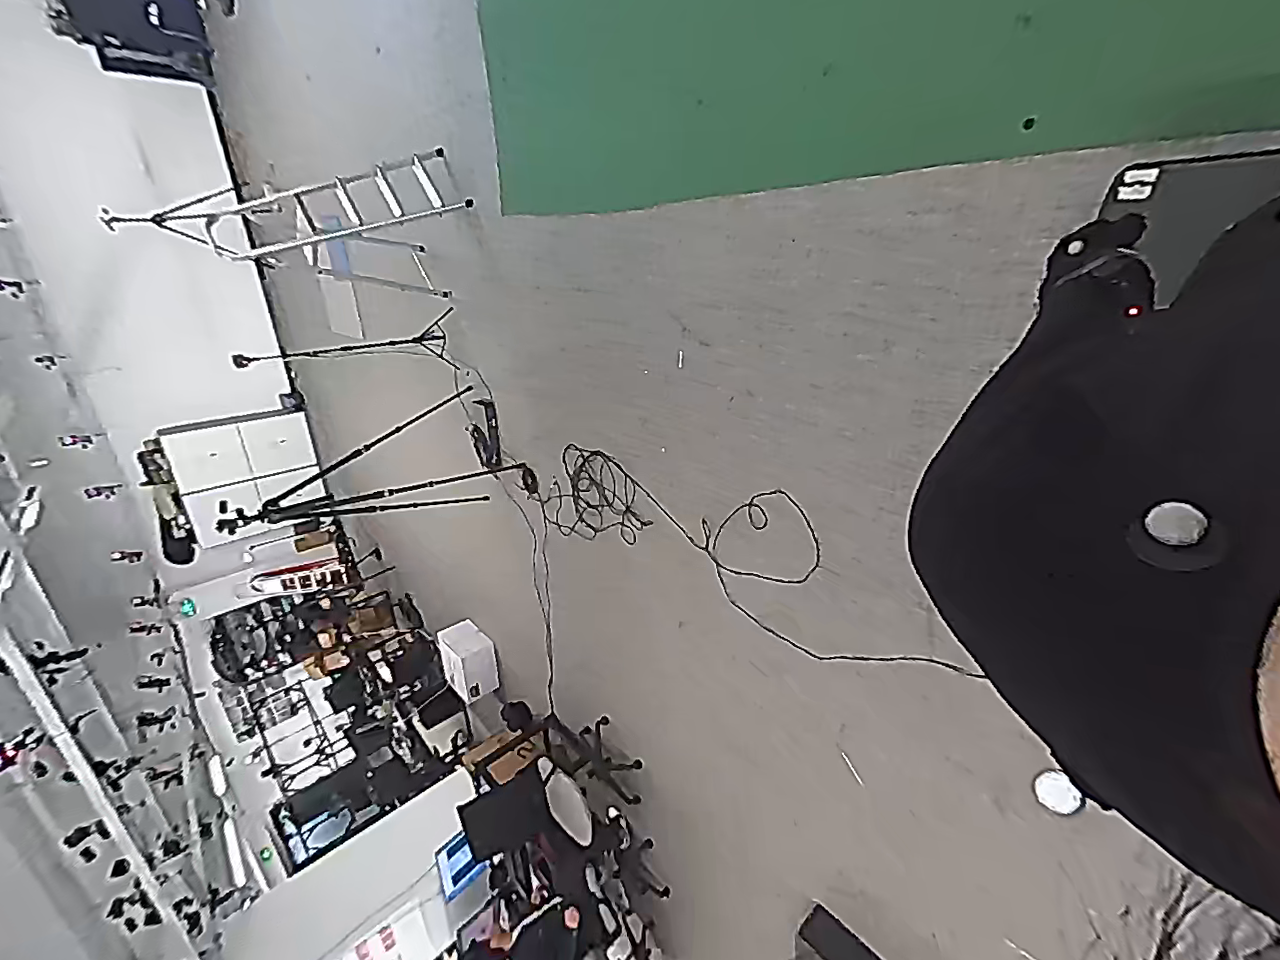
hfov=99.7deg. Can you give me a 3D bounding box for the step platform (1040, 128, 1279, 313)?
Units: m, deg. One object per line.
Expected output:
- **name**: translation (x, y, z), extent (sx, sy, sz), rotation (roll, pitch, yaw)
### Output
- **step platform**: translation (1.060, -0.402, 0.832), extent (0.684, 0.204, 0.286), rotation (21, 122, 44)
